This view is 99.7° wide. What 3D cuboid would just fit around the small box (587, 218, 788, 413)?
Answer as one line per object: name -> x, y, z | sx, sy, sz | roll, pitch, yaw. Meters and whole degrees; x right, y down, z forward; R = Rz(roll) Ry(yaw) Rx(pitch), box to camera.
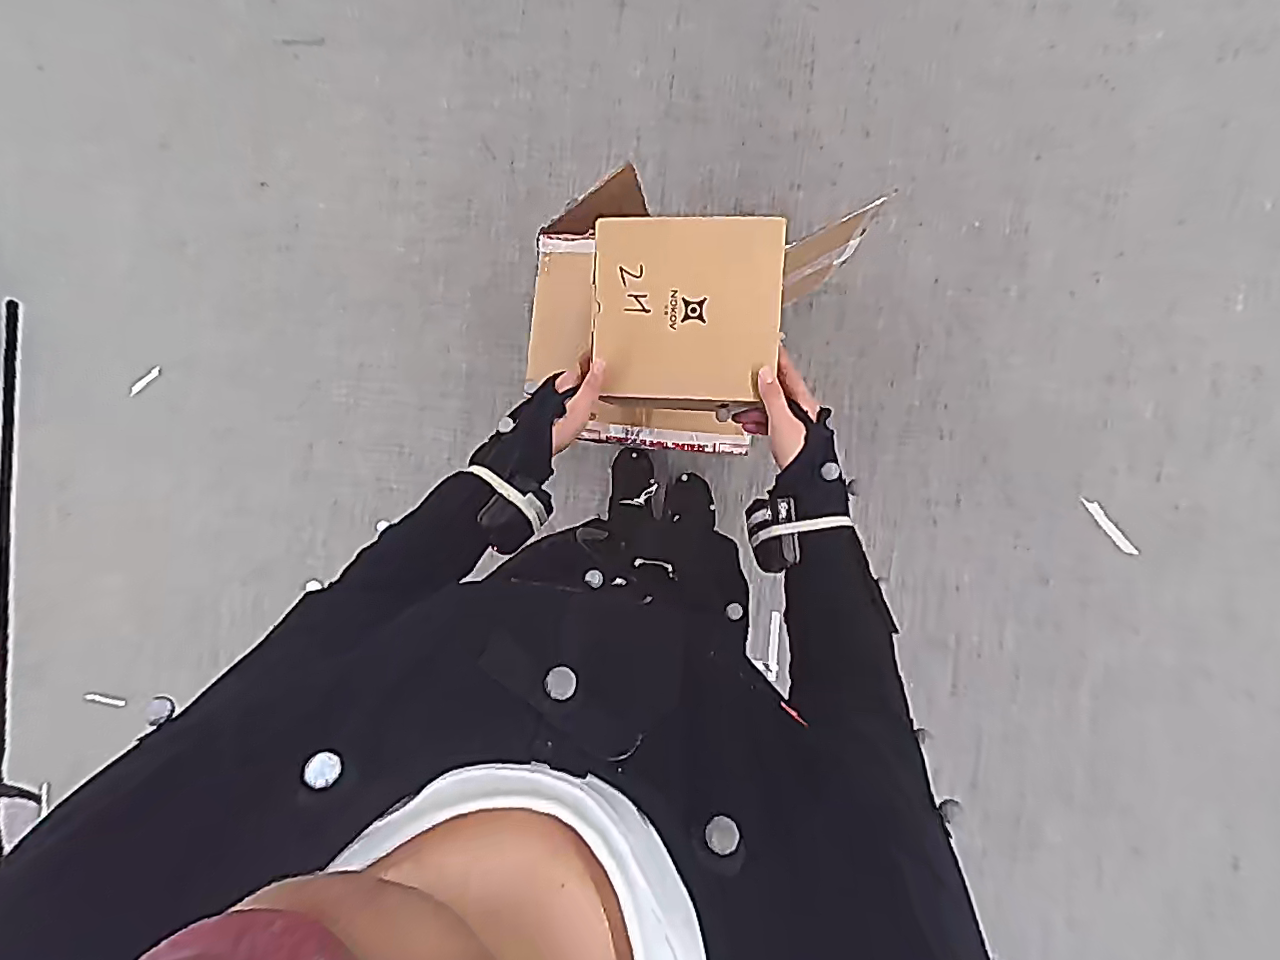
small box -> 0.049, -0.159, 0.570 | 0.179, 0.176, 0.168 | 3, 94, 7
